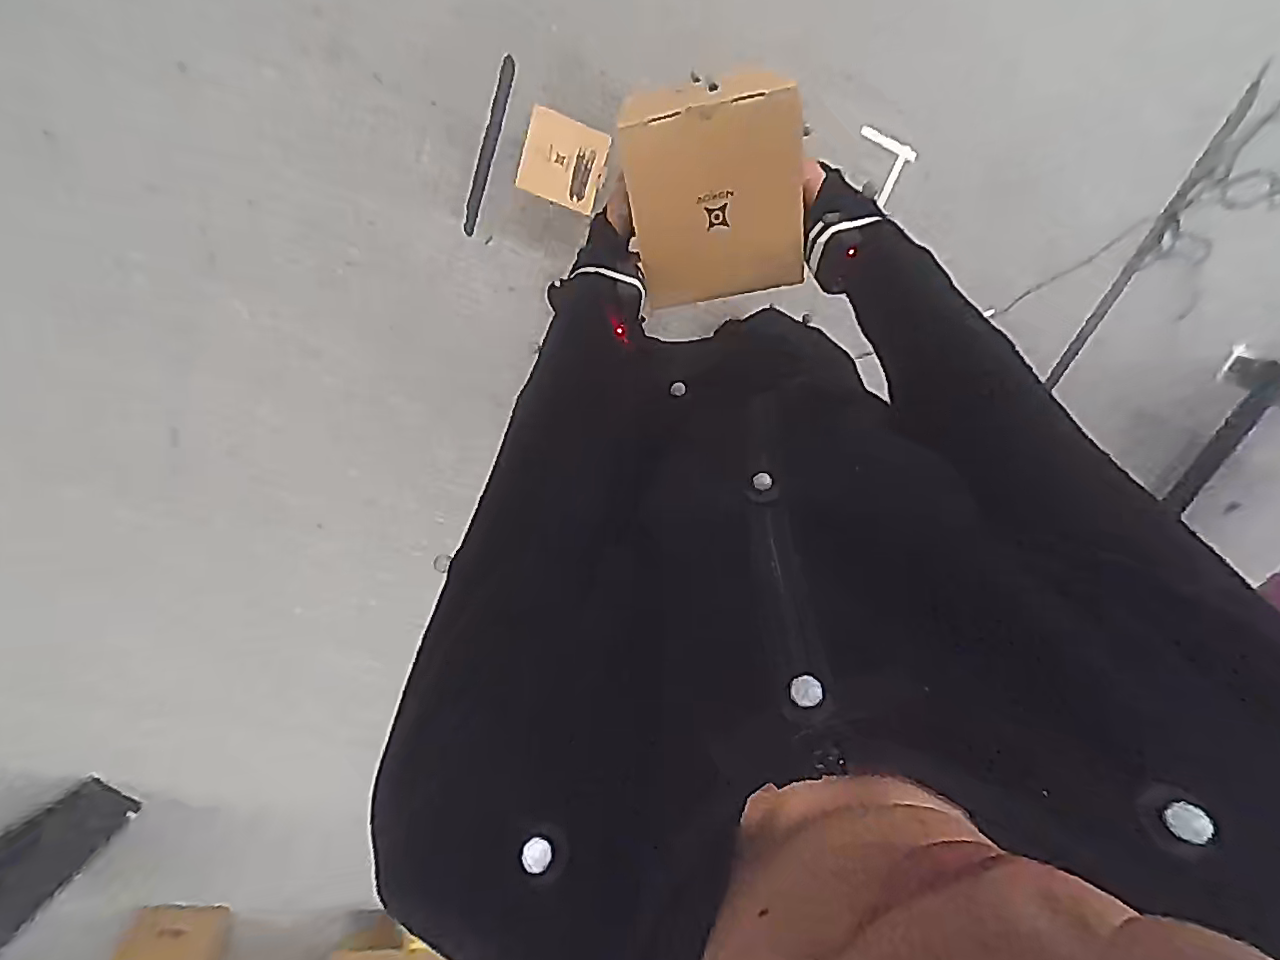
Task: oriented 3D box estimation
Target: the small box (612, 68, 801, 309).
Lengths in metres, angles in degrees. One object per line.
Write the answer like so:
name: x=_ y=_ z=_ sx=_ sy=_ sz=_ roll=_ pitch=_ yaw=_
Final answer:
small box: x=0.074 y=-0.312 z=0.580 sx=0.168 sy=0.176 sz=0.179 roll=-8 pitch=129 yaw=9
